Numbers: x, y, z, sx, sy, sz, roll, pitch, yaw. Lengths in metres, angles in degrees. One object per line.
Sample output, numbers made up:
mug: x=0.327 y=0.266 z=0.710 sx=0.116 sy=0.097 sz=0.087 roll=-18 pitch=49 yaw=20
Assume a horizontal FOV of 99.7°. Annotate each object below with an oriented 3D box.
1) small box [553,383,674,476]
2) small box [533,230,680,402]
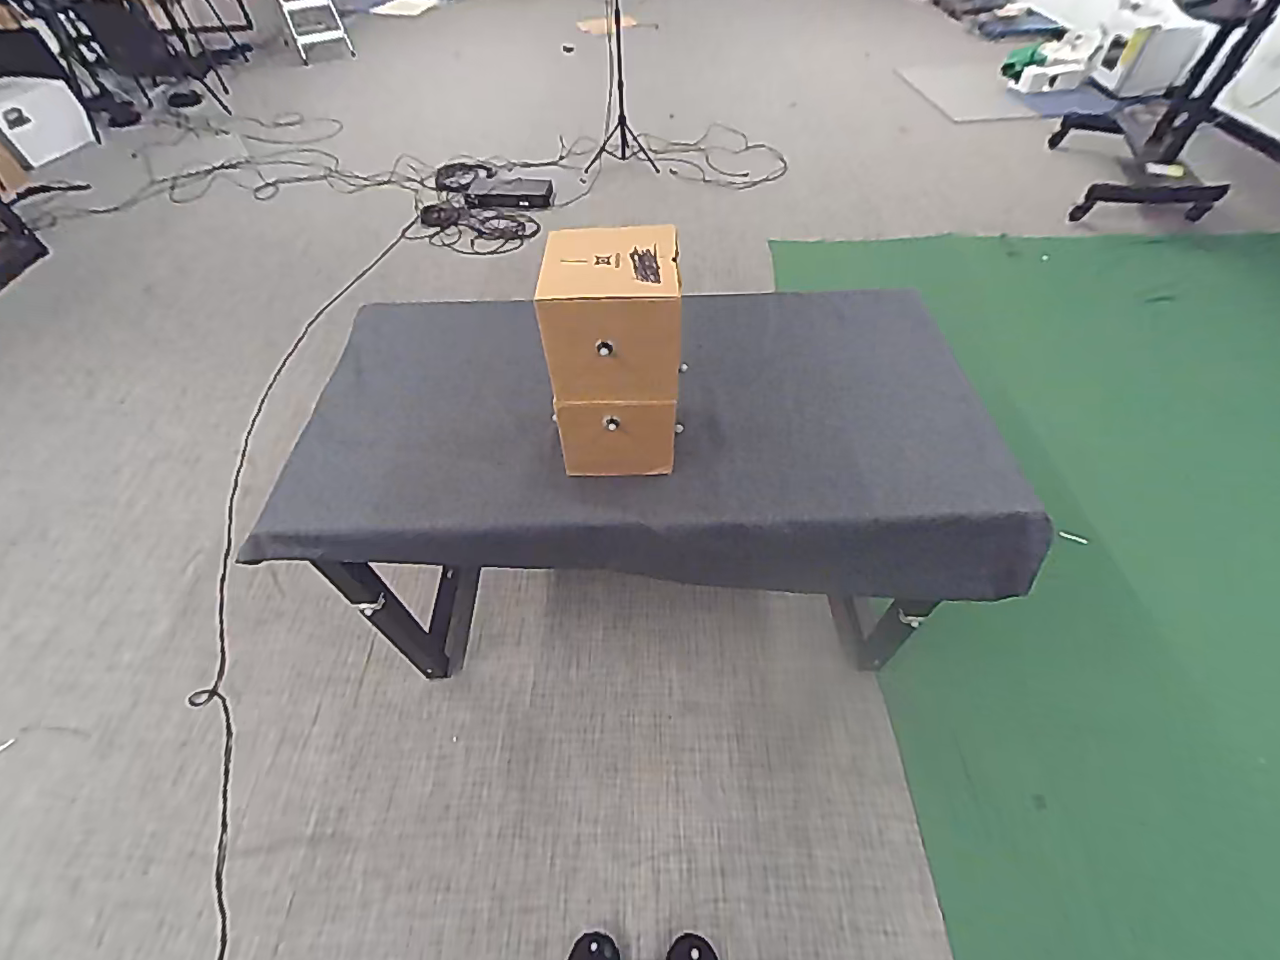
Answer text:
small box: x=-0.036 y=-0.119 z=0.876 sx=0.179 sy=0.176 sz=0.168 roll=0 pitch=53 yaw=0
small box: x=-0.036 y=-0.222 z=0.748 sx=0.179 sy=0.176 sz=0.168 roll=-1 pitch=52 yaw=3
